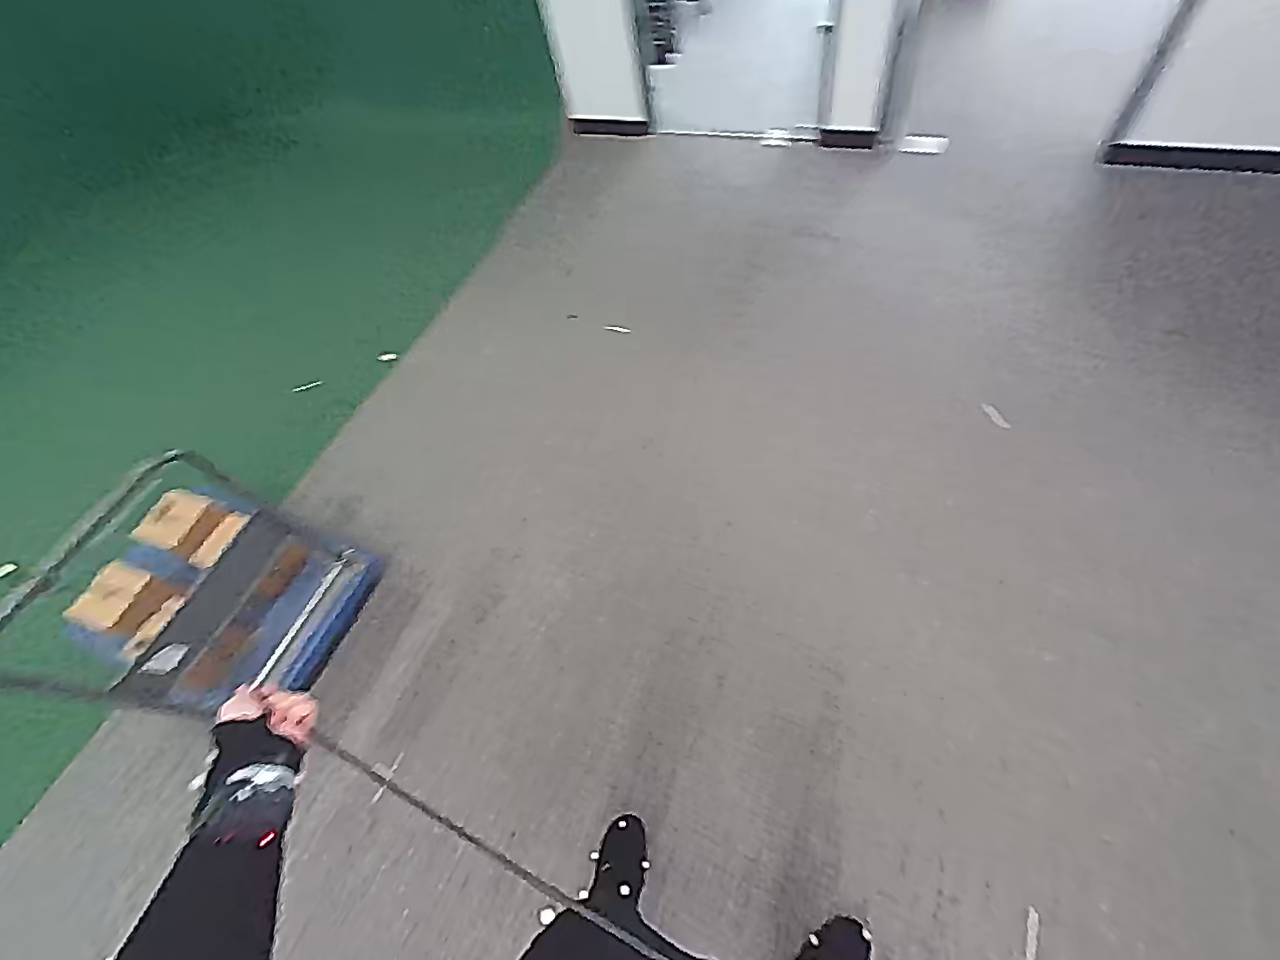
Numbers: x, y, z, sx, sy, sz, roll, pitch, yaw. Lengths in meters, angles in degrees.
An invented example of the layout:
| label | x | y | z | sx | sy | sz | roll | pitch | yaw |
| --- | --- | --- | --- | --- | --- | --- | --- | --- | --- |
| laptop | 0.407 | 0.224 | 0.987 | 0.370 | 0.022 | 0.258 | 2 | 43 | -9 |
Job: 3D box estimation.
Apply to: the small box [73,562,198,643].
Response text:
| label | x | y | z | sx | sy | sz | roll | pitch | yaw |
| --- | --- | --- | --- | --- | --- | --- | --- | --- | --- |
| small box | -1.481 | 0.367 | 1.601 | 0.179 | 0.176 | 0.168 | 13 | 61 | 18 |

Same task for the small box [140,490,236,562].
| label | x | y | z | sx | sy | sz | roll | pitch | yaw |
| --- | --- | --- | --- | --- | --- | --- | --- | --- | --- |
| small box | -1.399 | 0.158 | 1.714 | 0.179 | 0.176 | 0.168 | 13 | 63 | 17 |

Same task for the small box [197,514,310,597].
| label | x | y | z | sx | sy | sz | roll | pitch | yaw |
| --- | --- | --- | --- | --- | --- | --- | --- | --- | --- |
| small box | -1.154 | 0.230 | 1.626 | 0.179 | 0.176 | 0.168 | 18 | 63 | 19 |
